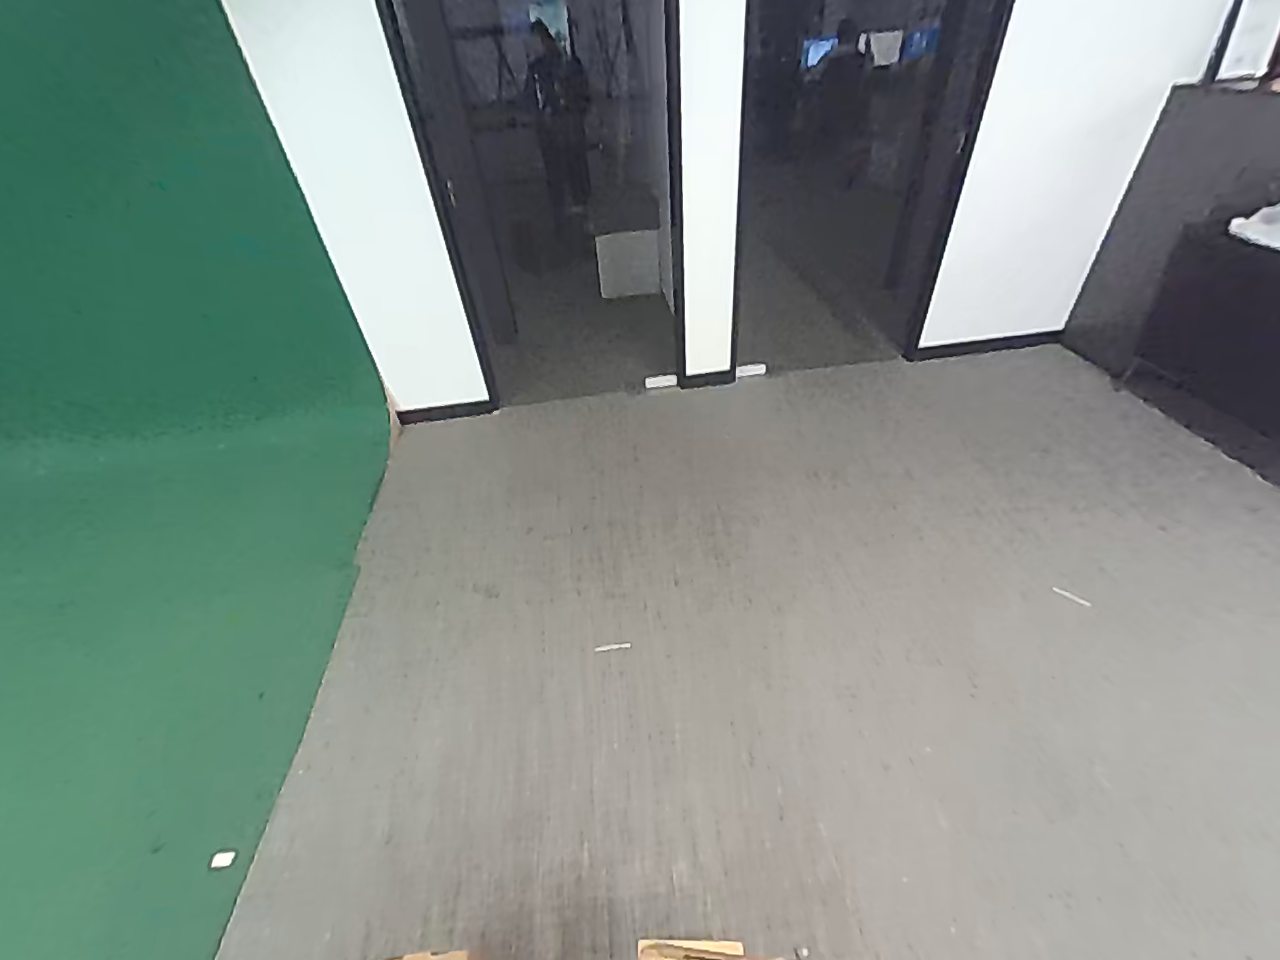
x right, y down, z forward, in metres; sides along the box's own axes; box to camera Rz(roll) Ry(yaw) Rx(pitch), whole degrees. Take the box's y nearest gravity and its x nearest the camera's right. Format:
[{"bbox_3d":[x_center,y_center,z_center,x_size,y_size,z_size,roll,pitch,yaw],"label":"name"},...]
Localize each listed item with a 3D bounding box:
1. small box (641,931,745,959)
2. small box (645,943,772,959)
[{"bbox_3d":[0.084,0.843,0.853,0.168,0.176,0.179,-2,42,4],"label":"small box"},{"bbox_3d":[0.078,0.459,0.388,0.168,0.176,0.179,2,53,8],"label":"small box"}]
